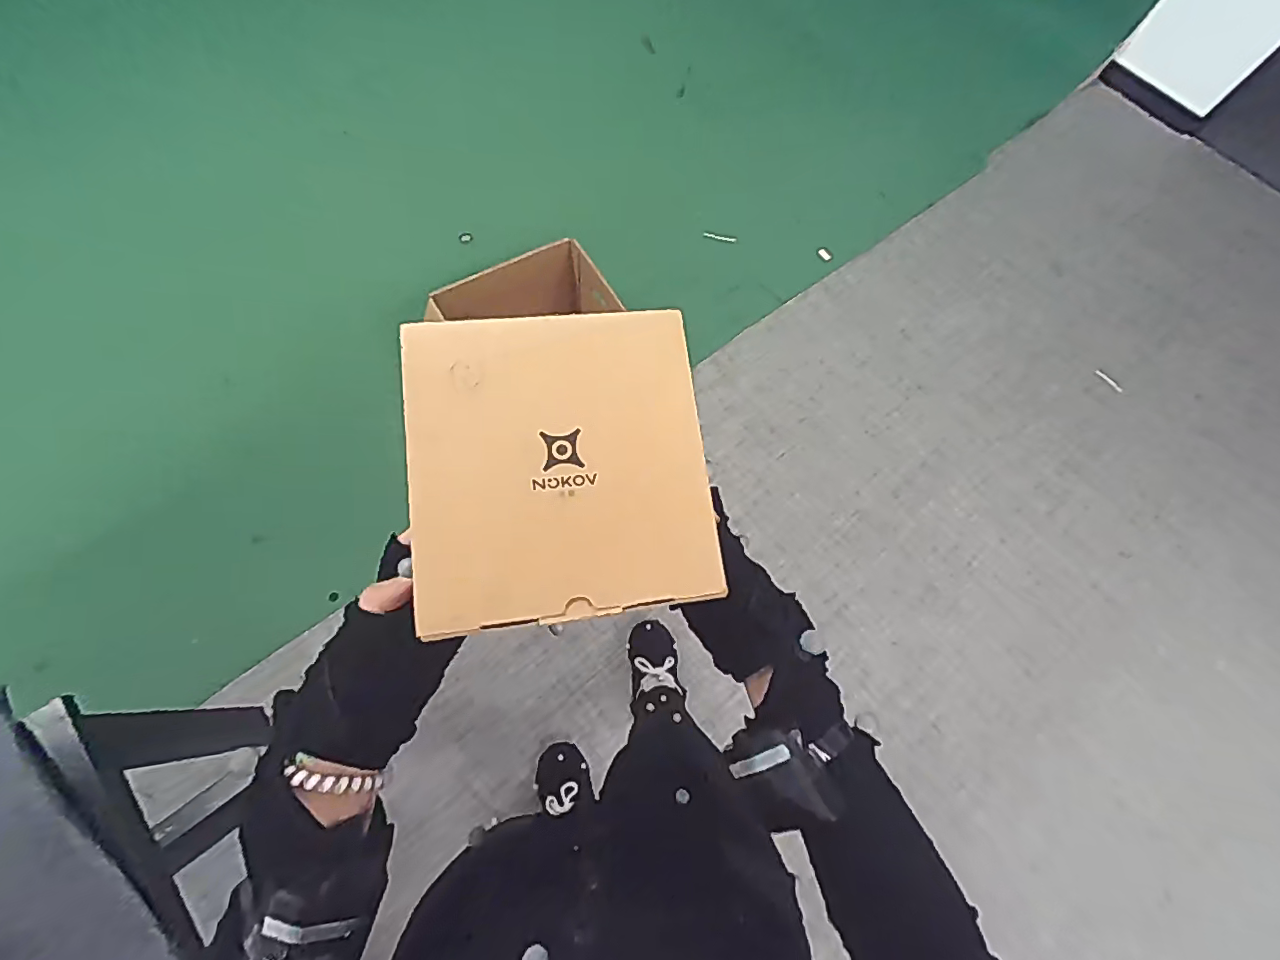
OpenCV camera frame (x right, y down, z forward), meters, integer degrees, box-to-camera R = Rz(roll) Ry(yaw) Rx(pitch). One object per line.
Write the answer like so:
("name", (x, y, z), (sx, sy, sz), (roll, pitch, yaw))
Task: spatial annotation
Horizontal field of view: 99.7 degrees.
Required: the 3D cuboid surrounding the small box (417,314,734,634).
("small box", (-0.051, 0.005, 0.381), (0.168, 0.176, 0.179), (-6, 80, -11))
